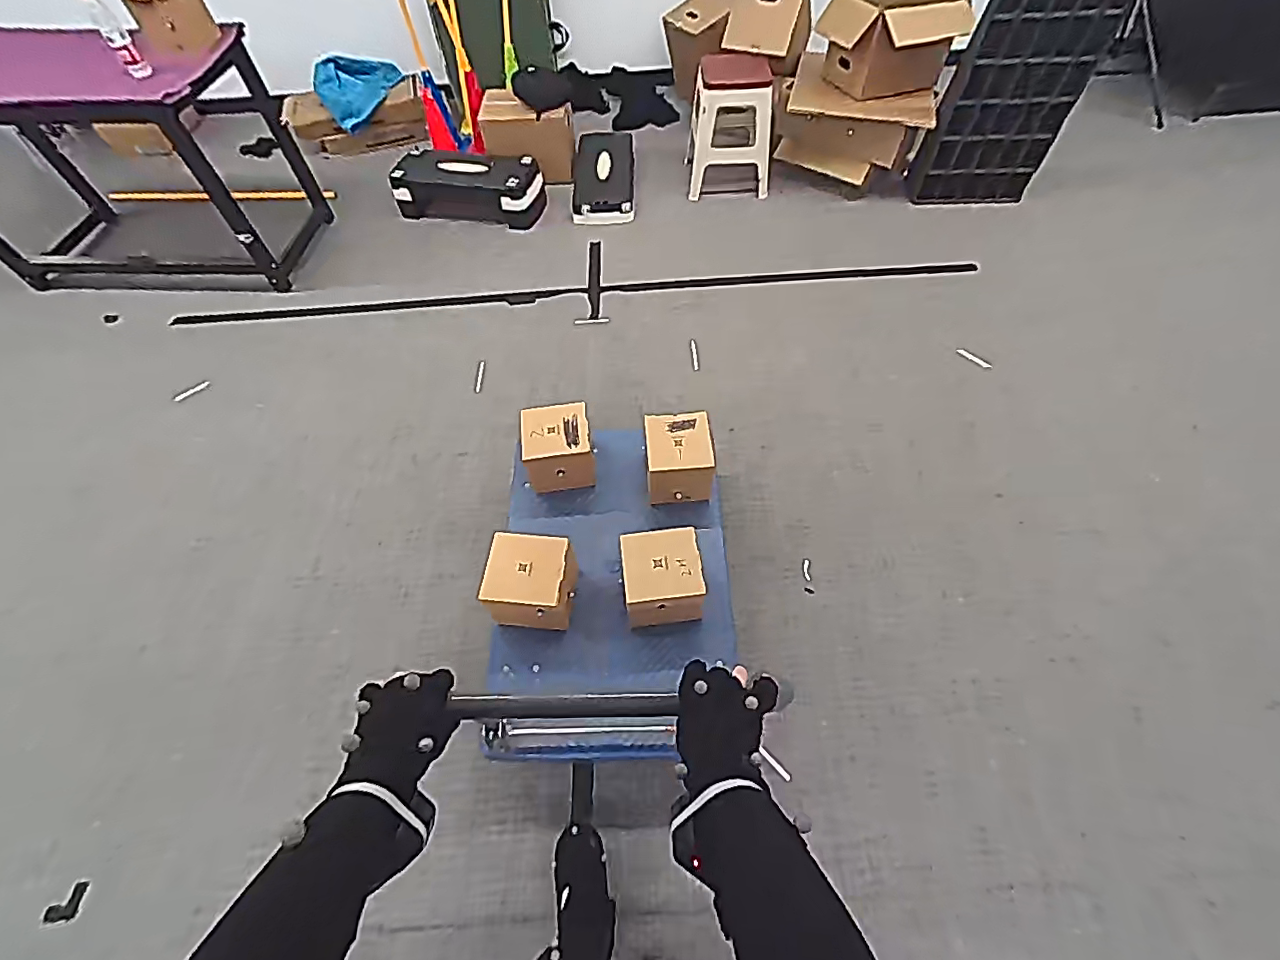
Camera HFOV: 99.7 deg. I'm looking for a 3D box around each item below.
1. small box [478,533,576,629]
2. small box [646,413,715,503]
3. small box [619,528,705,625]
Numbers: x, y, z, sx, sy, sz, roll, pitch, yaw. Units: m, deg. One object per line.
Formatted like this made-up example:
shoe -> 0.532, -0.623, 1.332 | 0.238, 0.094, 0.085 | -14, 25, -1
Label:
small box -> -0.254, 0.239, 1.262 | 0.179, 0.176, 0.168 | 4, 58, 3
small box -> 0.100, -0.056, 1.433 | 0.168, 0.176, 0.179 | -4, 59, 0
small box -> 0.049, 0.229, 1.255 | 0.179, 0.176, 0.168 | -6, 58, -2
